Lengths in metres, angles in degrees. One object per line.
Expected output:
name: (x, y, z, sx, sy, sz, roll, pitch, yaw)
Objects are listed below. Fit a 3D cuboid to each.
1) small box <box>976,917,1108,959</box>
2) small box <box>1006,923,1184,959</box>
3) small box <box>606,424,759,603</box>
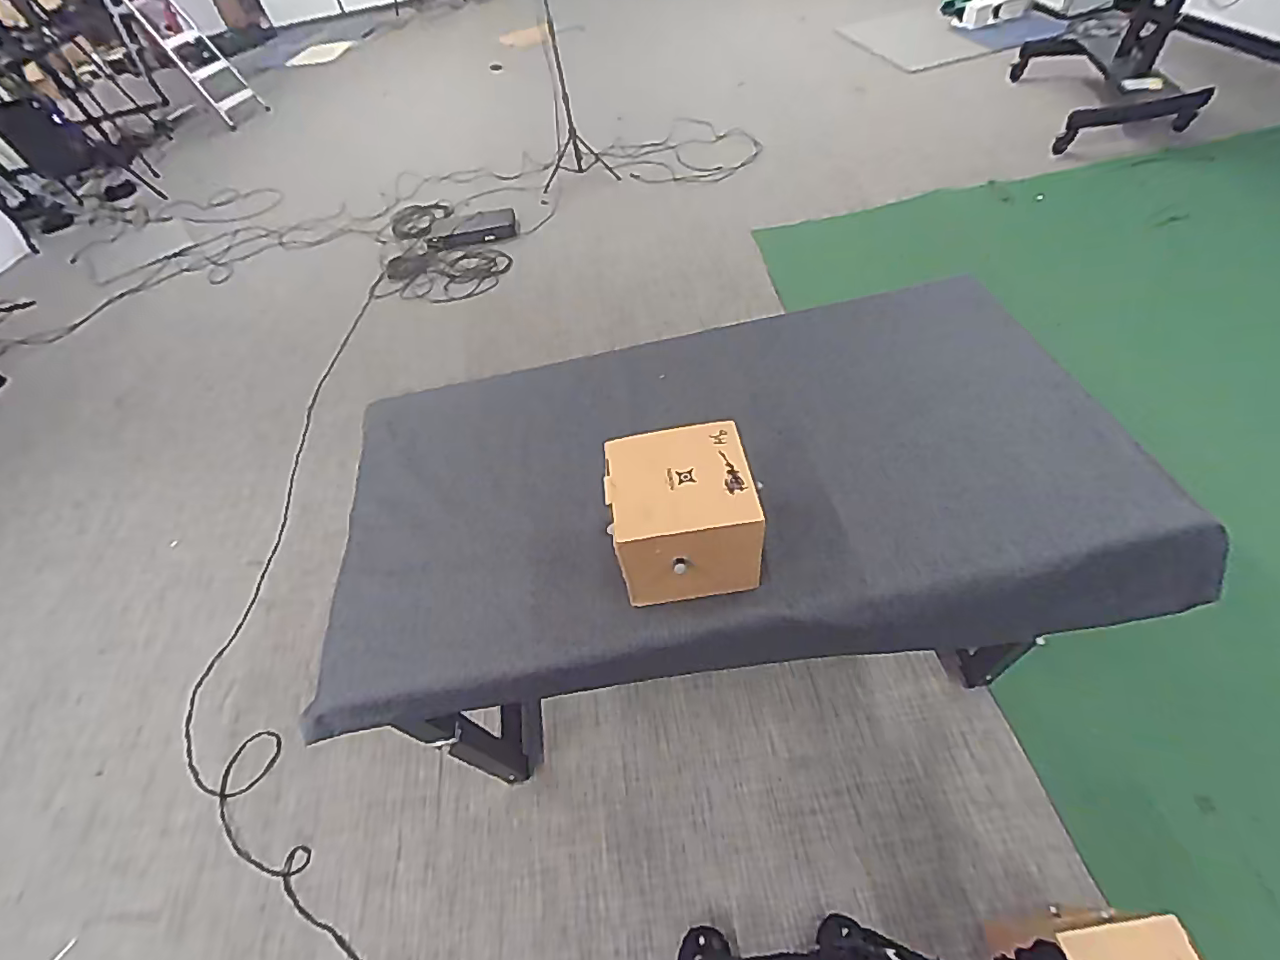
small box: (0.724, 0.866, 0.924, 0.179, 0.176, 0.168, -12, 50, 1)
small box: (0.692, 0.767, 0.795, 0.179, 0.176, 0.168, -10, 51, 2)
small box: (0.057, 0.051, 0.729, 0.179, 0.176, 0.168, -8, 51, 2)
